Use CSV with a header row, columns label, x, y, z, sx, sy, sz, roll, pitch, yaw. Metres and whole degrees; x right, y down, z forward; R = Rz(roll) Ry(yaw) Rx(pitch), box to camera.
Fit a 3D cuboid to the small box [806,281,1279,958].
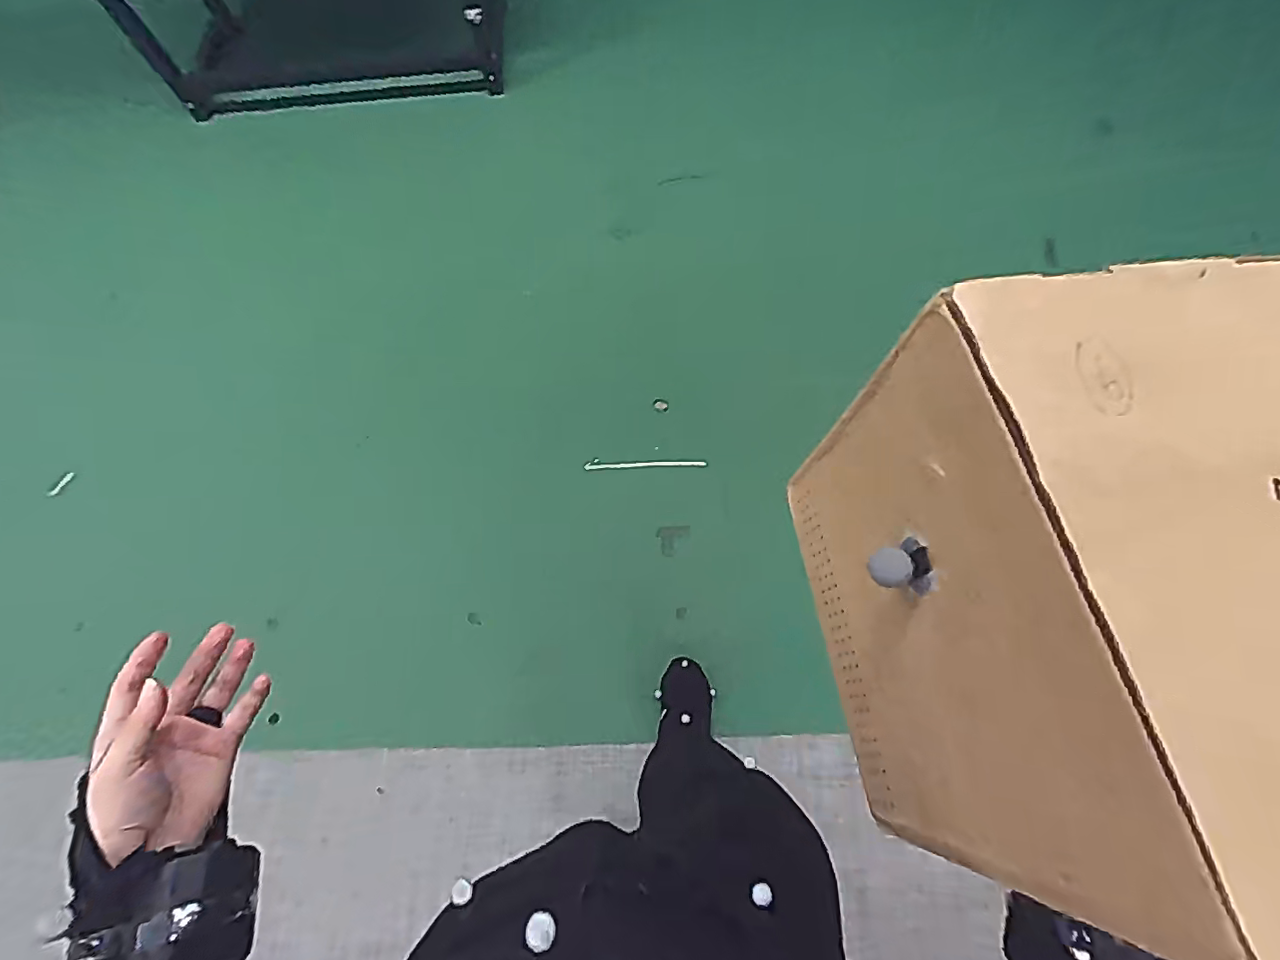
label,x,y,z,sx,sy,sz,roll,pitch,yaw
small box,0.188,0.046,0.226,0.168,0.176,0.179,-7,67,-5
